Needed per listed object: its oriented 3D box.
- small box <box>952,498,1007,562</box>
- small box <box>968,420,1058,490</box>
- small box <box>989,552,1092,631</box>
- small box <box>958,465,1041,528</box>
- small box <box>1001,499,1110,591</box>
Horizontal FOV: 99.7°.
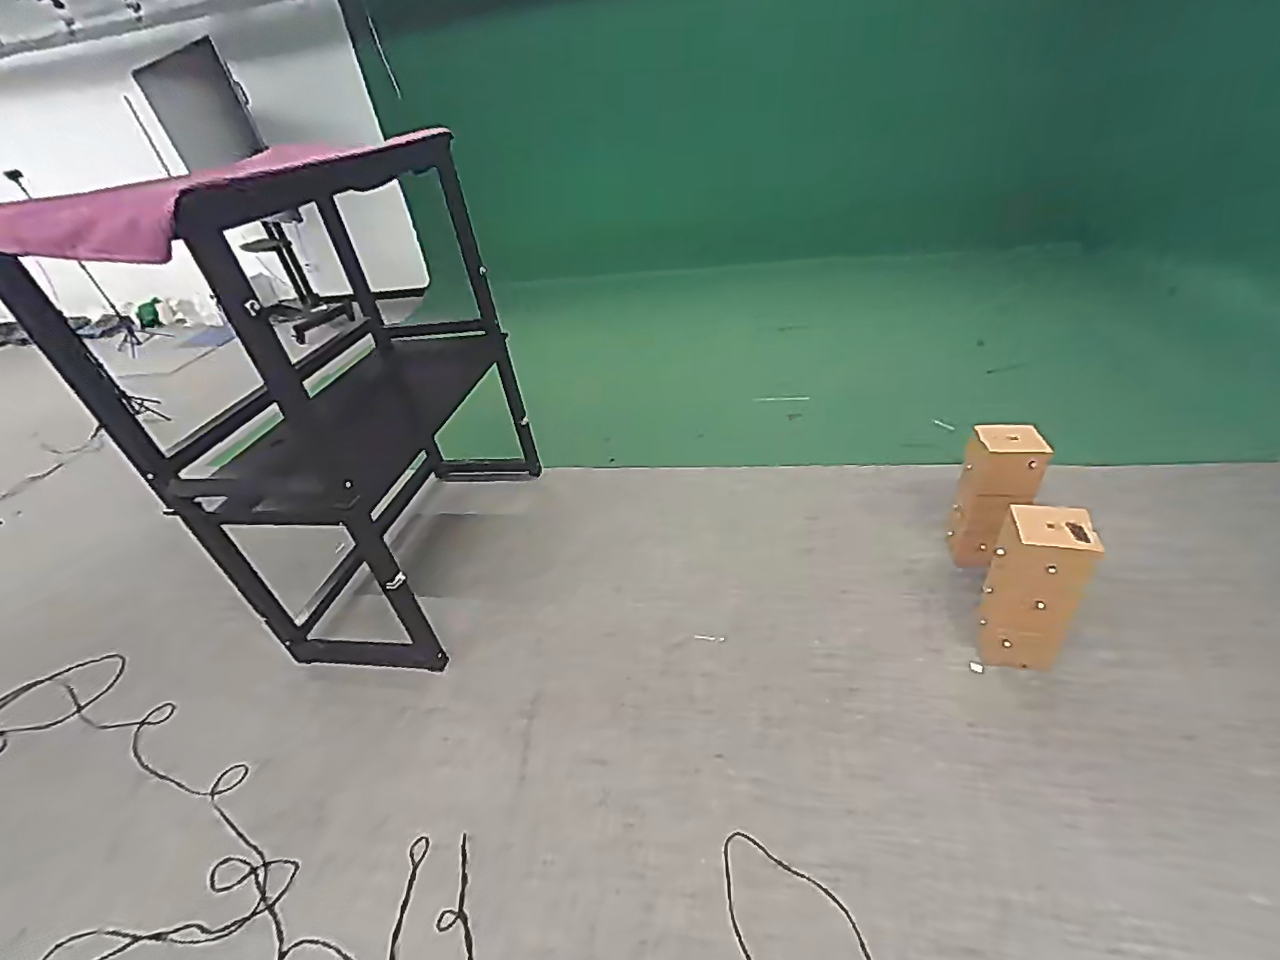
[{"bbox_3d":[1.241,0.180,1.942,0.179,0.176,0.168,2,38,16],"label":"small box"},{"bbox_3d":[1.193,-0.079,1.746,0.179,0.176,0.168,0,36,13],"label":"small box"},{"bbox_3d":[1.118,0.305,1.525,0.179,0.176,0.168,4,38,18],"label":"small box"},{"bbox_3d":[1.218,0.052,1.844,0.179,0.176,0.168,-1,36,13],"label":"small box"},{"bbox_3d":[1.088,0.173,1.431,0.179,0.176,0.168,4,38,20],"label":"small box"}]
